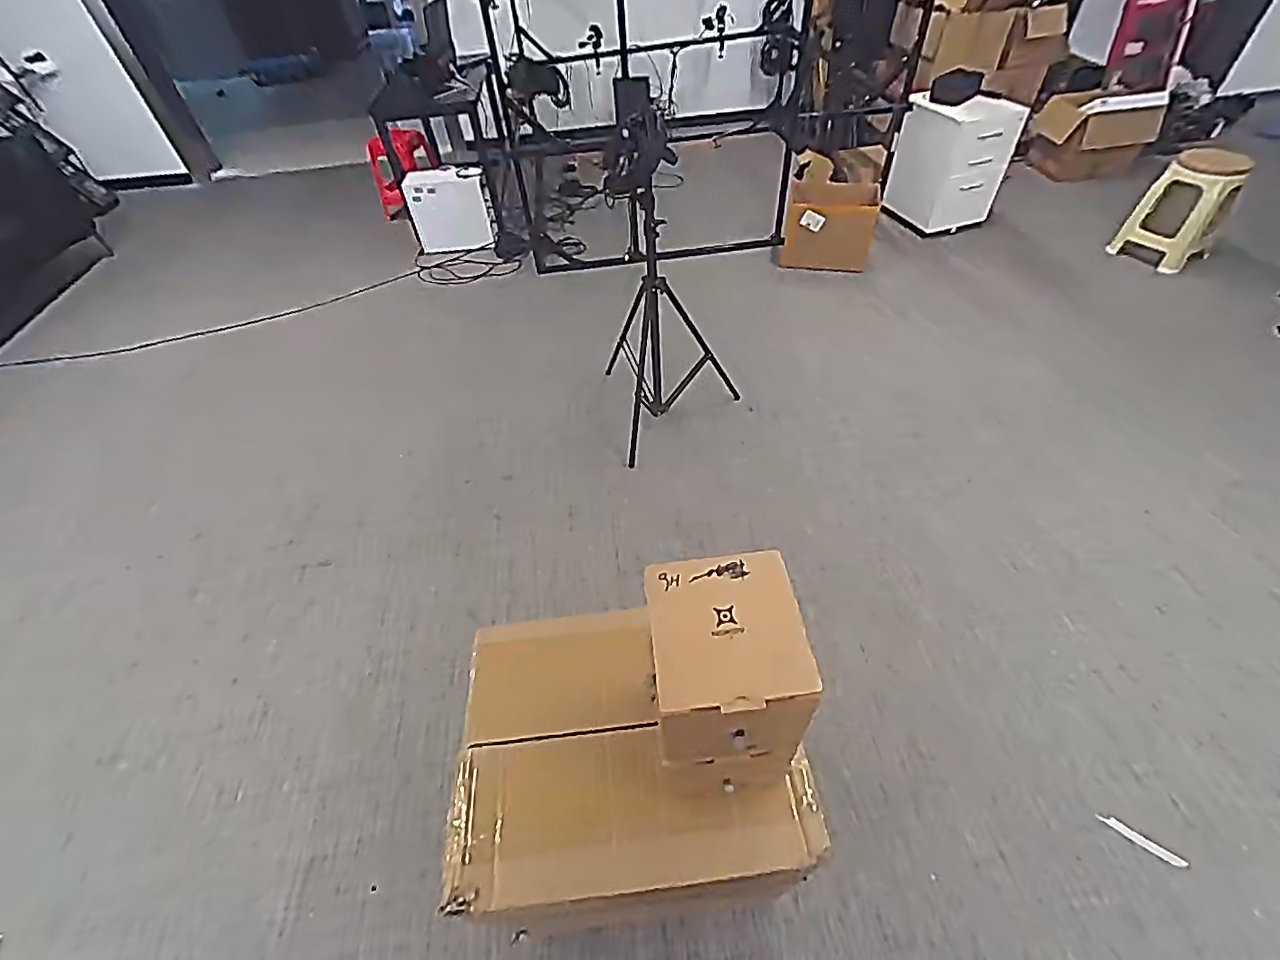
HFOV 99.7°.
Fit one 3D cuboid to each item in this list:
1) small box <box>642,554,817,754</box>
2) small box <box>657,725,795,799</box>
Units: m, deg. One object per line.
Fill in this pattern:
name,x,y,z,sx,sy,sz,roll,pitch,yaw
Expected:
small box,0.097,0.215,0.650,0.168,0.176,0.179,-7,48,0
small box,0.106,0.328,0.768,0.168,0.176,0.179,-8,48,-1
